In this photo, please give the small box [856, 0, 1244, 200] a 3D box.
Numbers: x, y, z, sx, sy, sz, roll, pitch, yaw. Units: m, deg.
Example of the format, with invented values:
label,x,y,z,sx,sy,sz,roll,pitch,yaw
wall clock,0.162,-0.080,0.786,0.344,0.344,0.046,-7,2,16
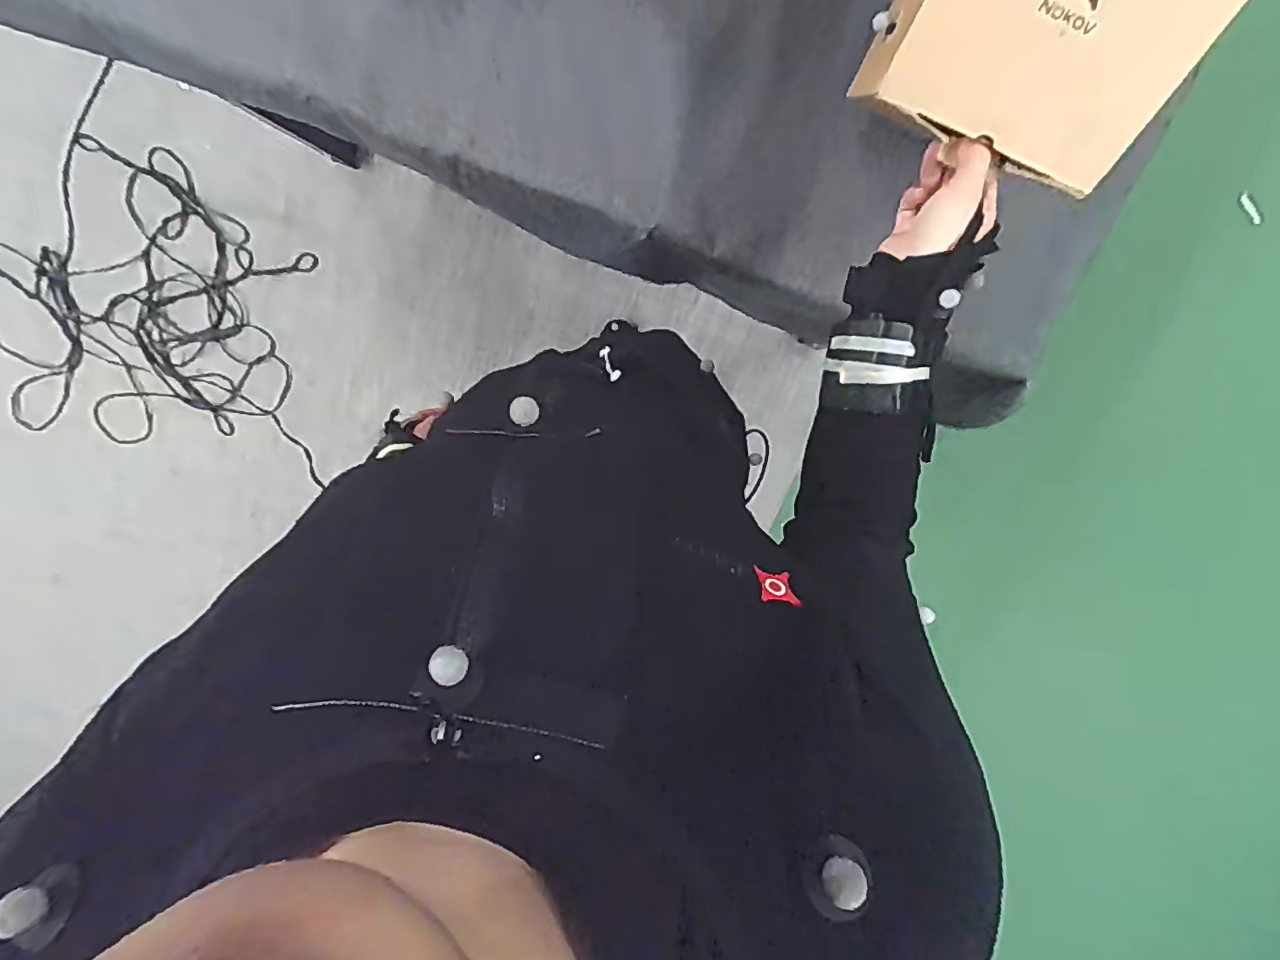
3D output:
label,x,y,z,sx,sy,sz,roll,pitch,yaw
small box,0.275,-0.331,0.384,0.168,0.176,0.179,22,125,-4
